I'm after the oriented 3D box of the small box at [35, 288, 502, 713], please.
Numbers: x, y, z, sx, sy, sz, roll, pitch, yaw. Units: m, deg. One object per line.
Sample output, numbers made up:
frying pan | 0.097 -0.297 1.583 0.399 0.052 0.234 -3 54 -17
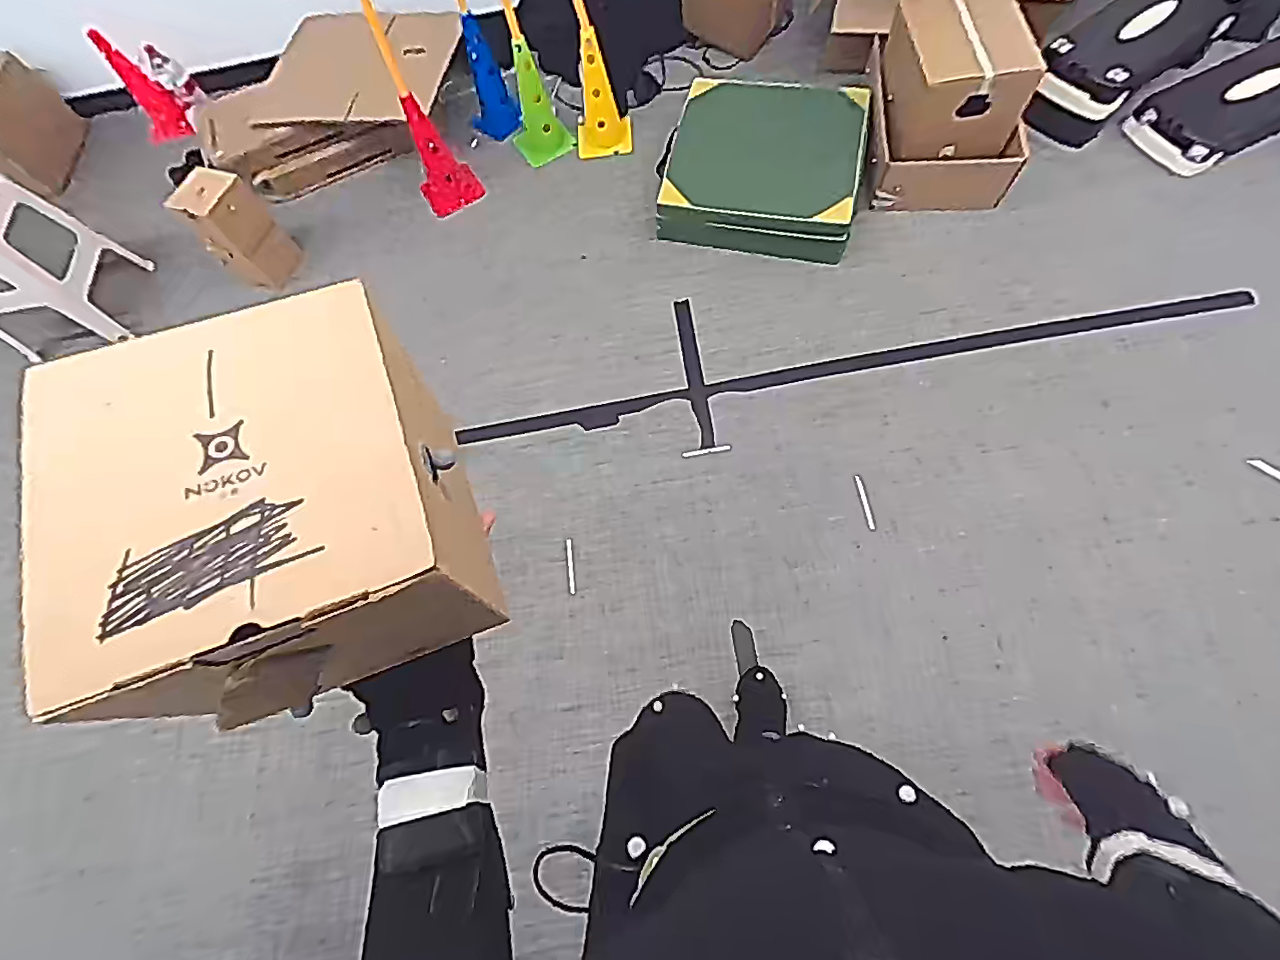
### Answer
small box | -0.199 0.023 0.334 0.168 0.176 0.179 -20 69 -9
